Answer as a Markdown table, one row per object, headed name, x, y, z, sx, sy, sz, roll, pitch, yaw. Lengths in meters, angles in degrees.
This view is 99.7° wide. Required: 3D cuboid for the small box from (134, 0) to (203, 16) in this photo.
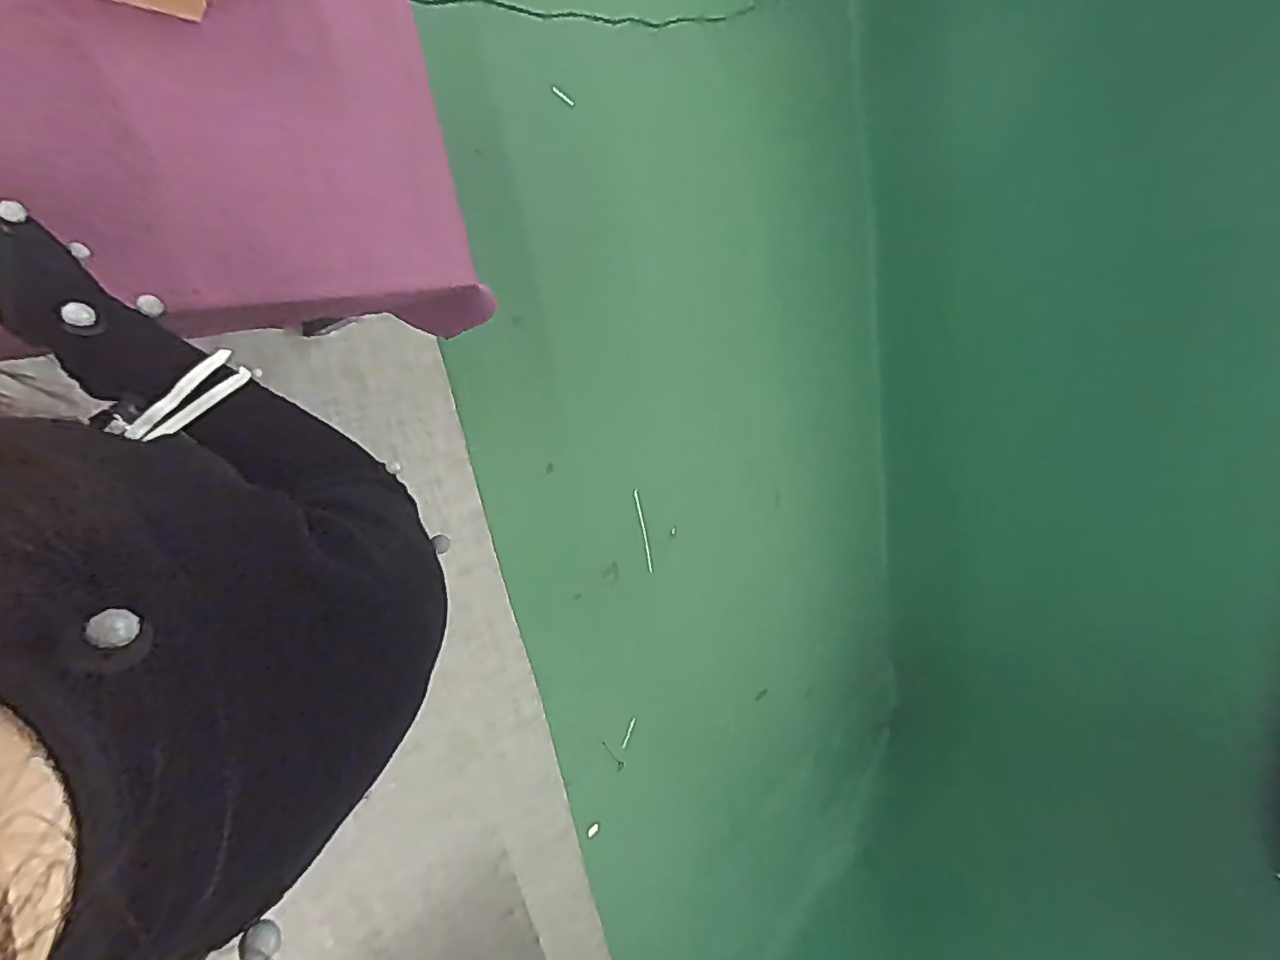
| name | x | y | z | sx | sy | sz | roll | pitch | yaw |
| --- | --- | --- | --- | --- | --- | --- | --- | --- | --- |
| small box | -0.507 | -0.572 | 0.481 | 0.168 | 0.176 | 0.179 | -21 | 108 | -42 |
